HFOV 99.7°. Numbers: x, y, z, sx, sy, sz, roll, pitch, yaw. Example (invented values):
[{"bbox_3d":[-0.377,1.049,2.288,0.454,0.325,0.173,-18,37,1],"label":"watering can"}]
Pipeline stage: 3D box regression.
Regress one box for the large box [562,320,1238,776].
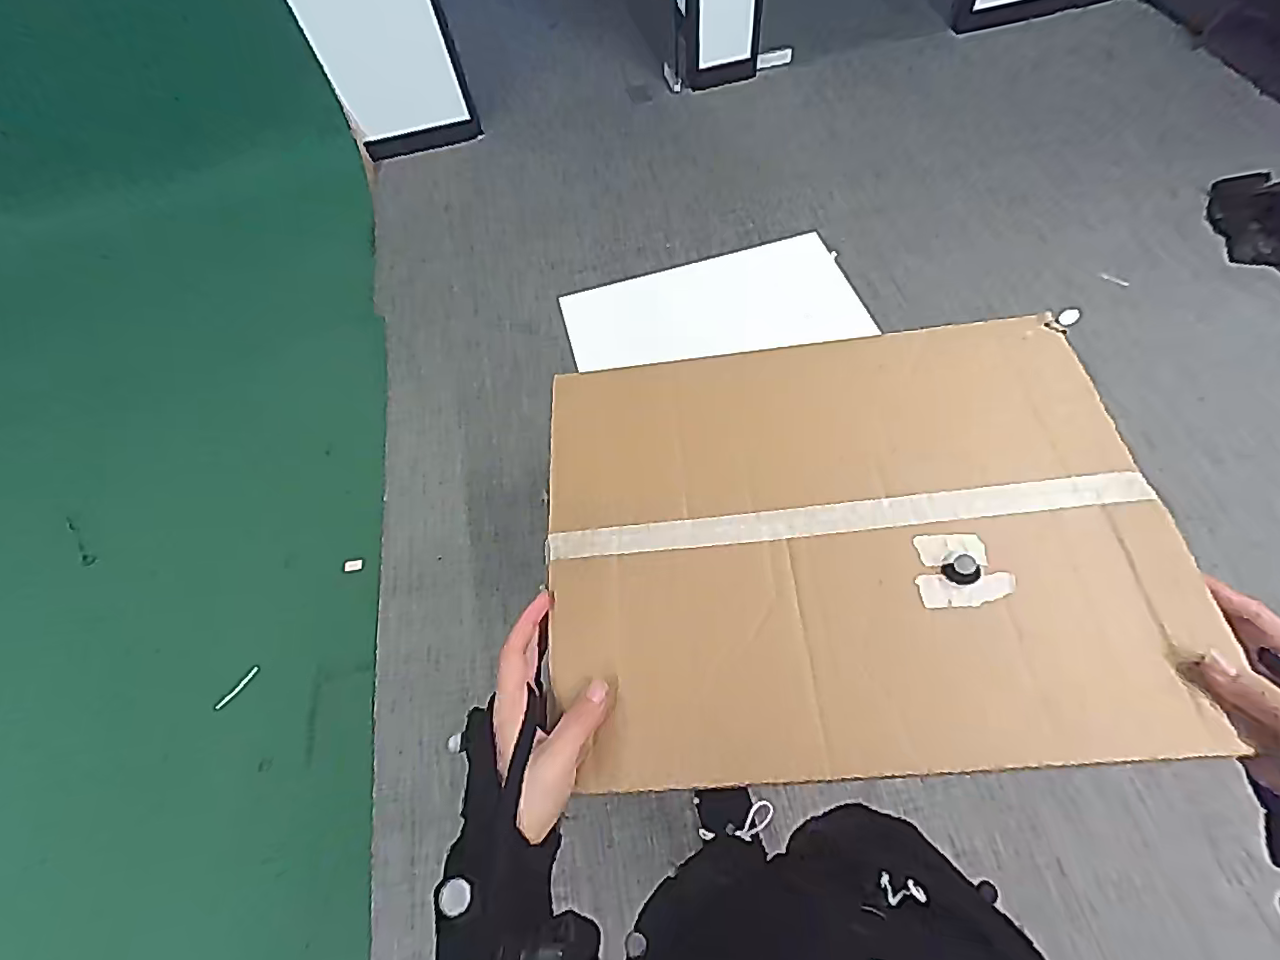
[{"bbox_3d":[0.154,0.091,0.522,0.408,0.320,0.320,-6,63,4],"label":"large box"}]
